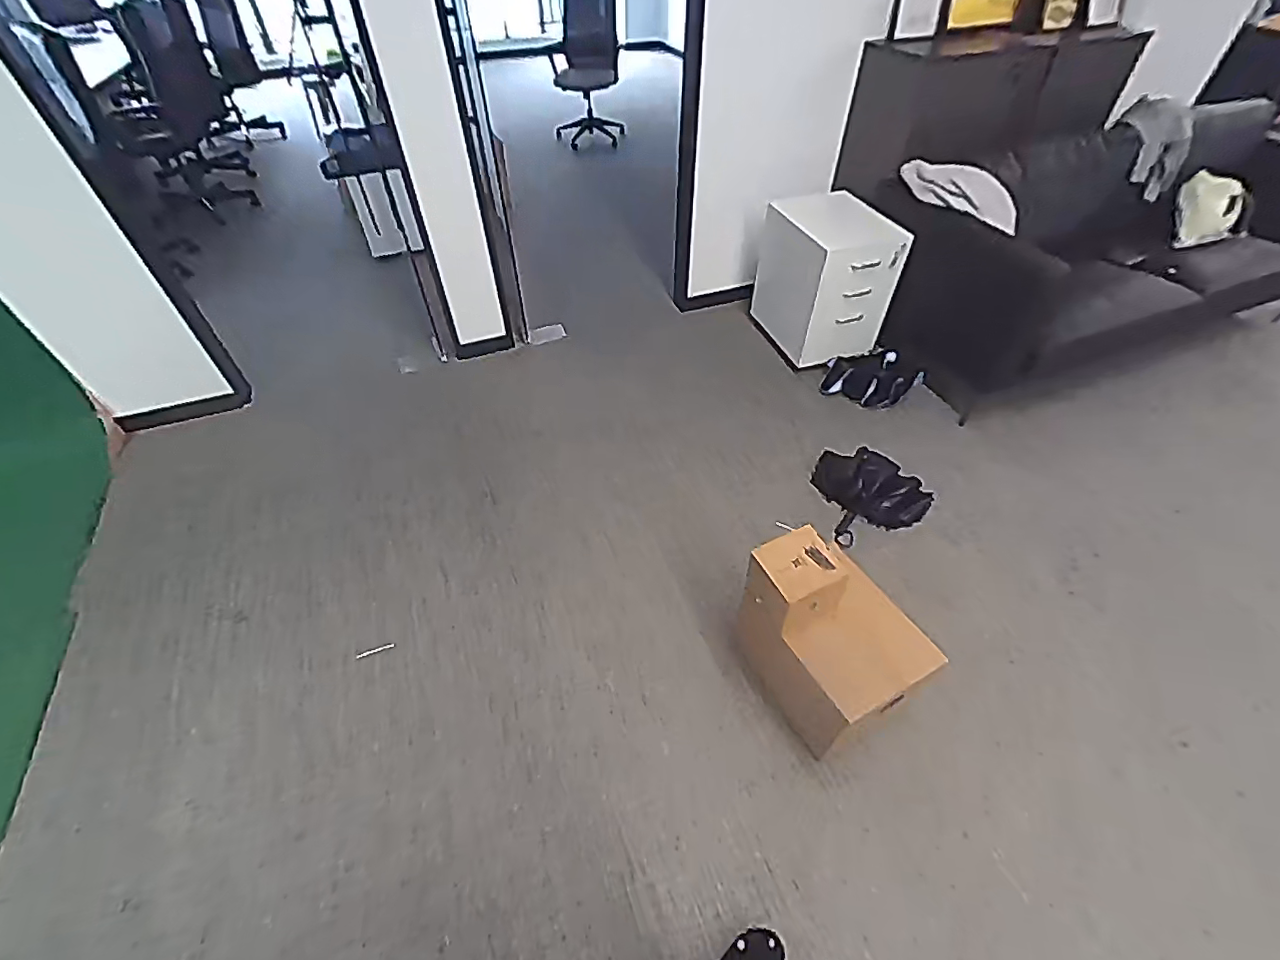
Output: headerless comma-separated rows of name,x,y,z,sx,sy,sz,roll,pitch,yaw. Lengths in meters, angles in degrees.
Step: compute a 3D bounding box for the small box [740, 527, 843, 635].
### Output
small box,0.365,0.253,1.343,0.179,0.176,0.168,-21,50,-14
